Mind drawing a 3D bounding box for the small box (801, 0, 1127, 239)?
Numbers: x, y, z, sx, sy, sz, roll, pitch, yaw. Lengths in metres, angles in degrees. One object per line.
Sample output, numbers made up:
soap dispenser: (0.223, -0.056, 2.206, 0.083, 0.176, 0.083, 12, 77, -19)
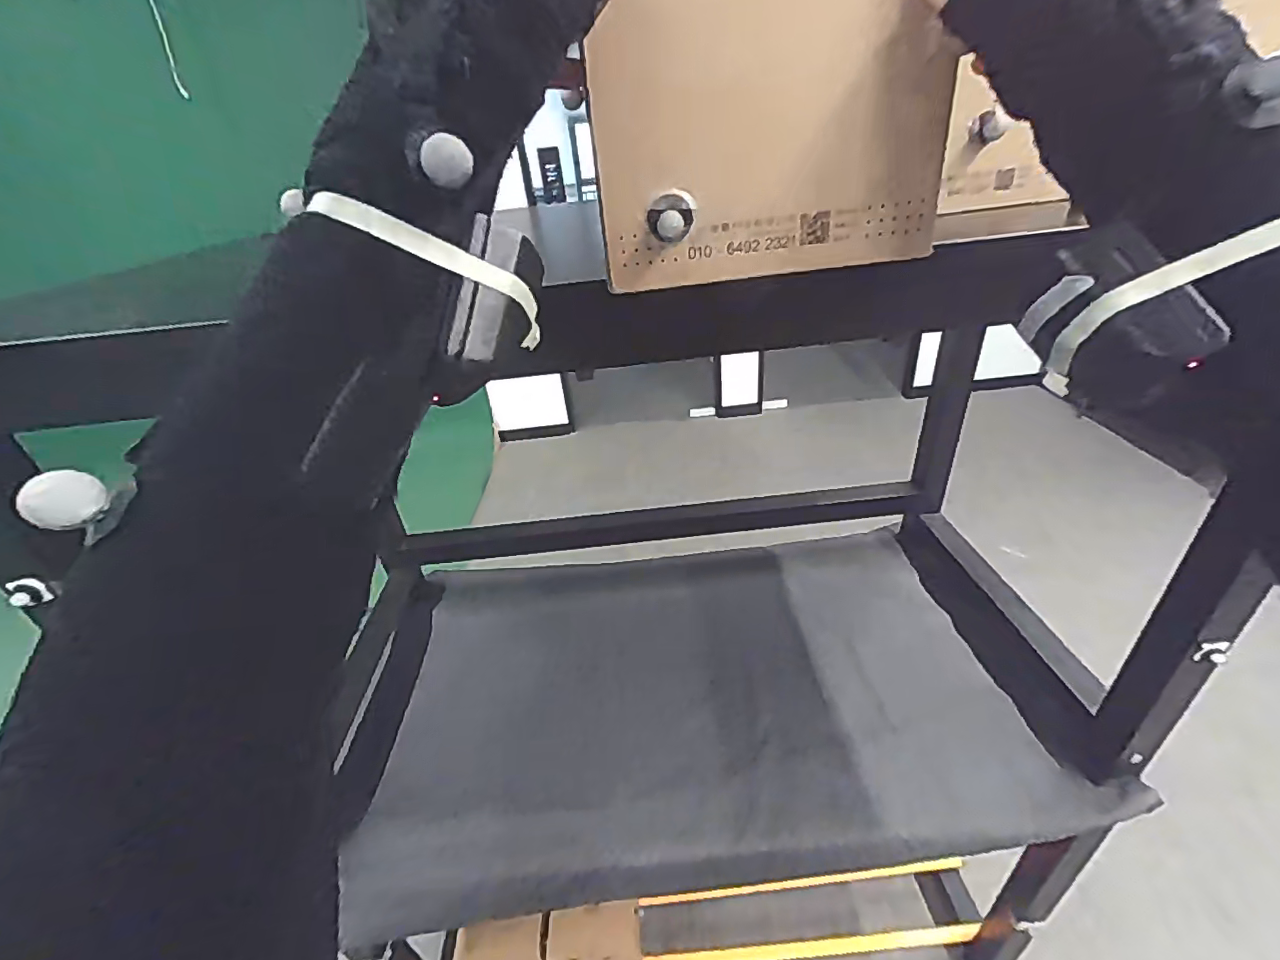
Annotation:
small box: (0.246, -0.311, 0.463, 0.168, 0.176, 0.179, -7, 32, -1)
